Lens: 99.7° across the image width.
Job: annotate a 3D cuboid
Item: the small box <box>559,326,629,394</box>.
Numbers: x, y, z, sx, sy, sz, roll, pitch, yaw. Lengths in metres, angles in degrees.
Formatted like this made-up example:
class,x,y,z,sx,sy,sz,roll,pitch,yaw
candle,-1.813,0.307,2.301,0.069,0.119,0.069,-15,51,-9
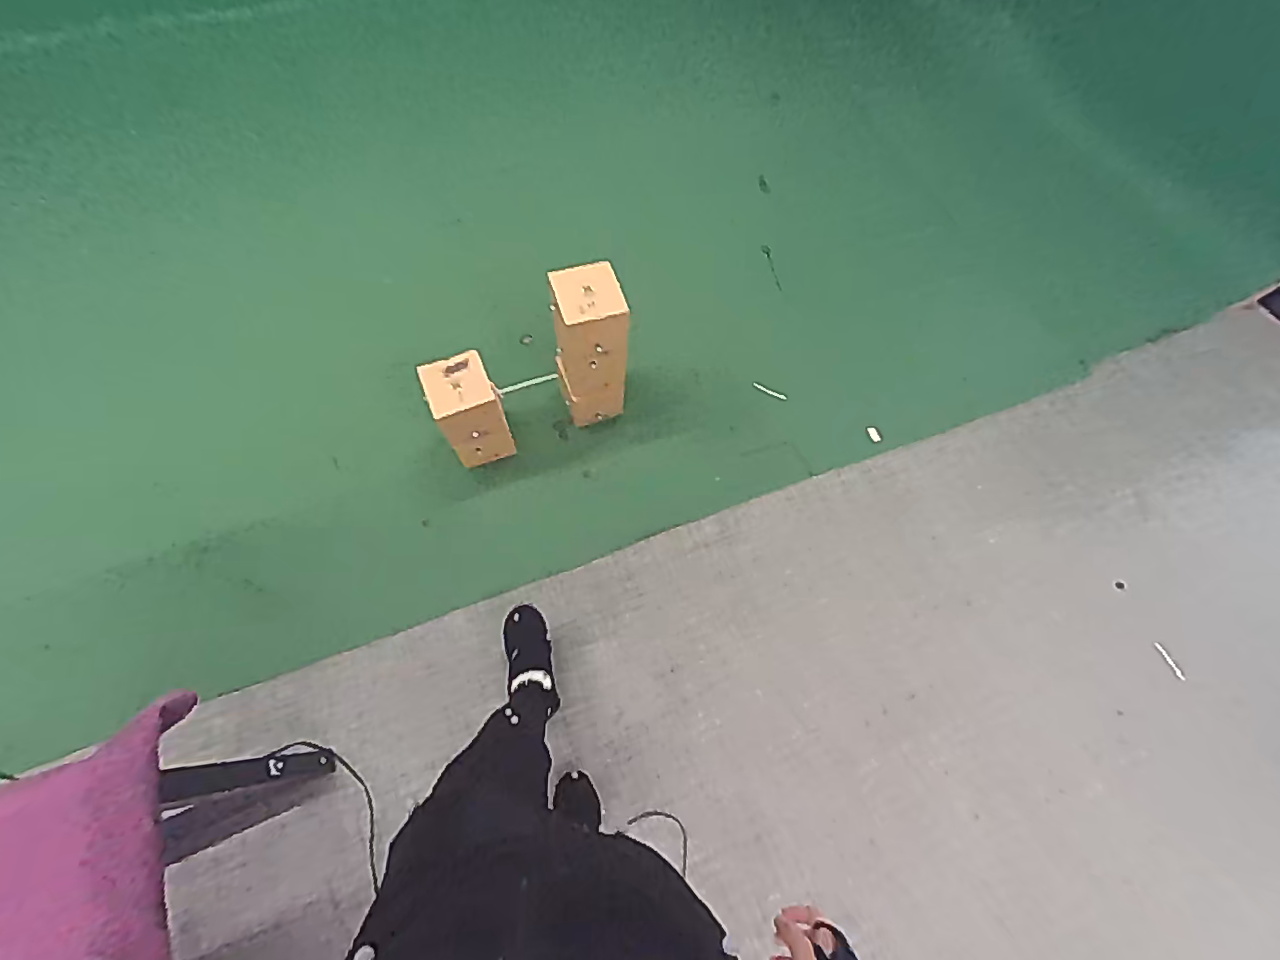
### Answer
class,x,y,z,sx,sy,sz,roll,pitch,yaw
small box,-0.138,-0.382,1.584,0.168,0.176,0.179,-15,68,-10

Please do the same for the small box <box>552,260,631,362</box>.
class,x,y,z,sx,sy,sz,roll,pitch,yaw
small box,-0.129,-0.444,1.431,0.168,0.176,0.179,-15,69,-10

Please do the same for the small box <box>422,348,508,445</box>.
class,x,y,z,sx,sy,sz,roll,pitch,yaw
small box,-0.480,-0.228,1.499,0.168,0.176,0.179,-21,69,-11

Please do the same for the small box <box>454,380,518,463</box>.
class,x,y,z,sx,sy,sz,roll,pitch,yaw
small box,-0.483,-0.170,1.653,0.168,0.176,0.179,-18,68,-10
